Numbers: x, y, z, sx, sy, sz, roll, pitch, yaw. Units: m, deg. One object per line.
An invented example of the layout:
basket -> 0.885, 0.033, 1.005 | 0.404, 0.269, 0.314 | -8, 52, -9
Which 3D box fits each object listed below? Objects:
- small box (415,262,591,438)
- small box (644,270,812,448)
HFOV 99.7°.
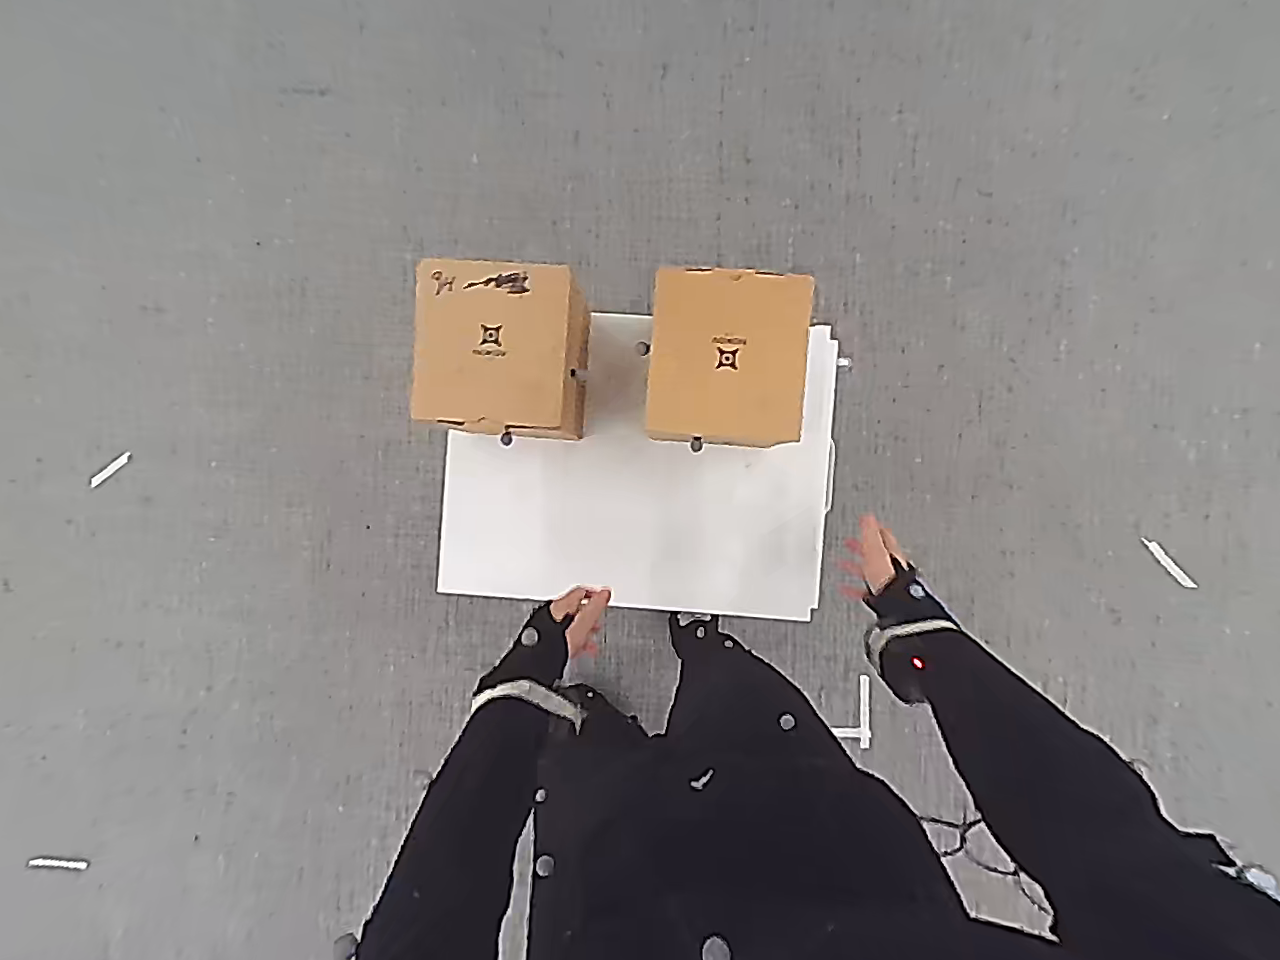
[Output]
small box -> -0.154, -0.144, 0.657 | 0.168, 0.176, 0.179 | 4, 92, 1
small box -> 0.097, -0.131, 0.647 | 0.168, 0.176, 0.179 | 4, 90, 3
